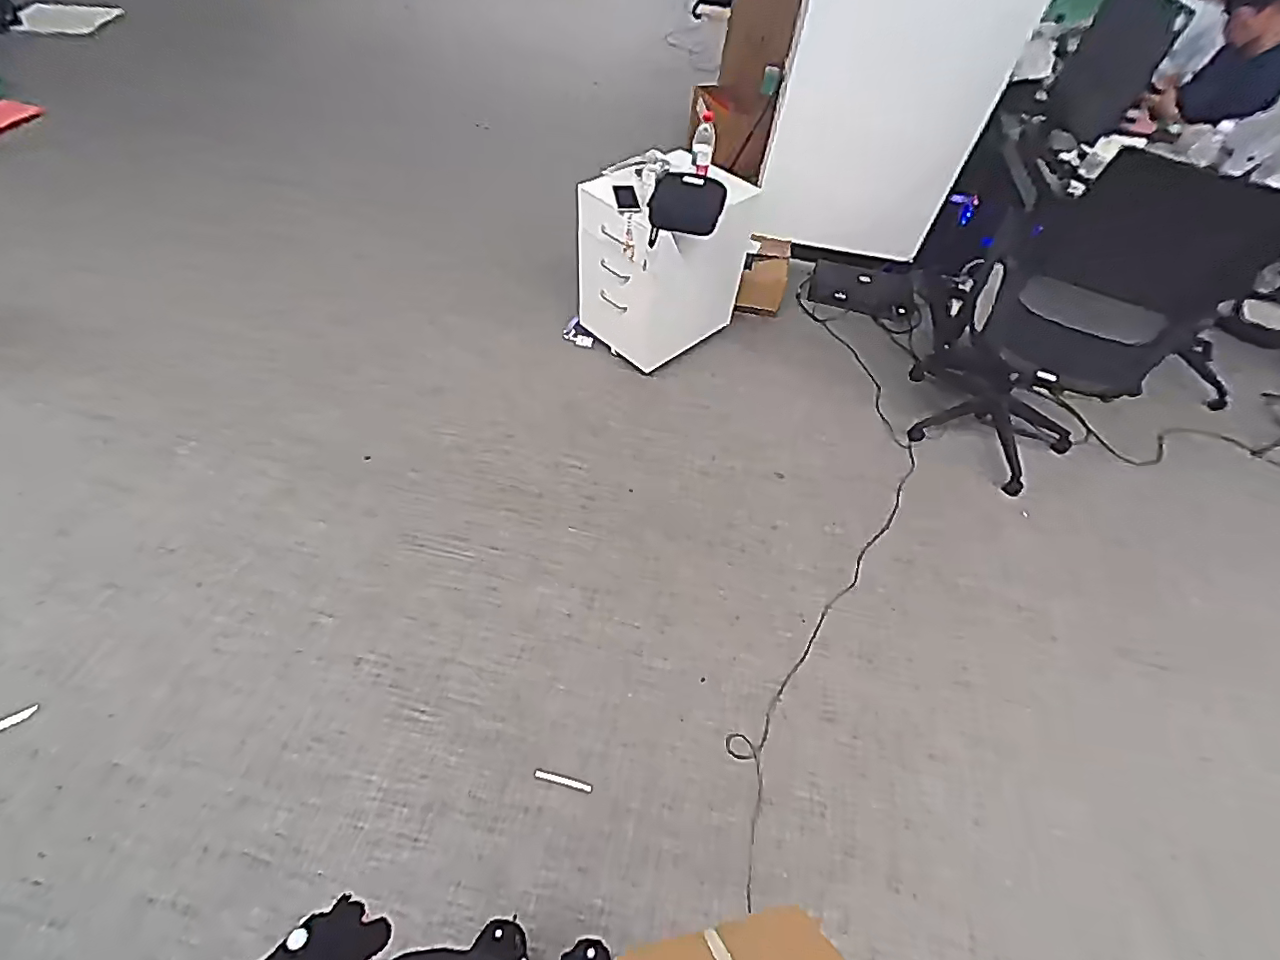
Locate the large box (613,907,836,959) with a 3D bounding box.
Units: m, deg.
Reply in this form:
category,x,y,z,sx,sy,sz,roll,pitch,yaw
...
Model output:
category,x,y,z,sx,sy,sz,roll,pitch,yaw
large box,0.162,0.825,0.646,0.320,0.408,0.320,-7,80,-14
